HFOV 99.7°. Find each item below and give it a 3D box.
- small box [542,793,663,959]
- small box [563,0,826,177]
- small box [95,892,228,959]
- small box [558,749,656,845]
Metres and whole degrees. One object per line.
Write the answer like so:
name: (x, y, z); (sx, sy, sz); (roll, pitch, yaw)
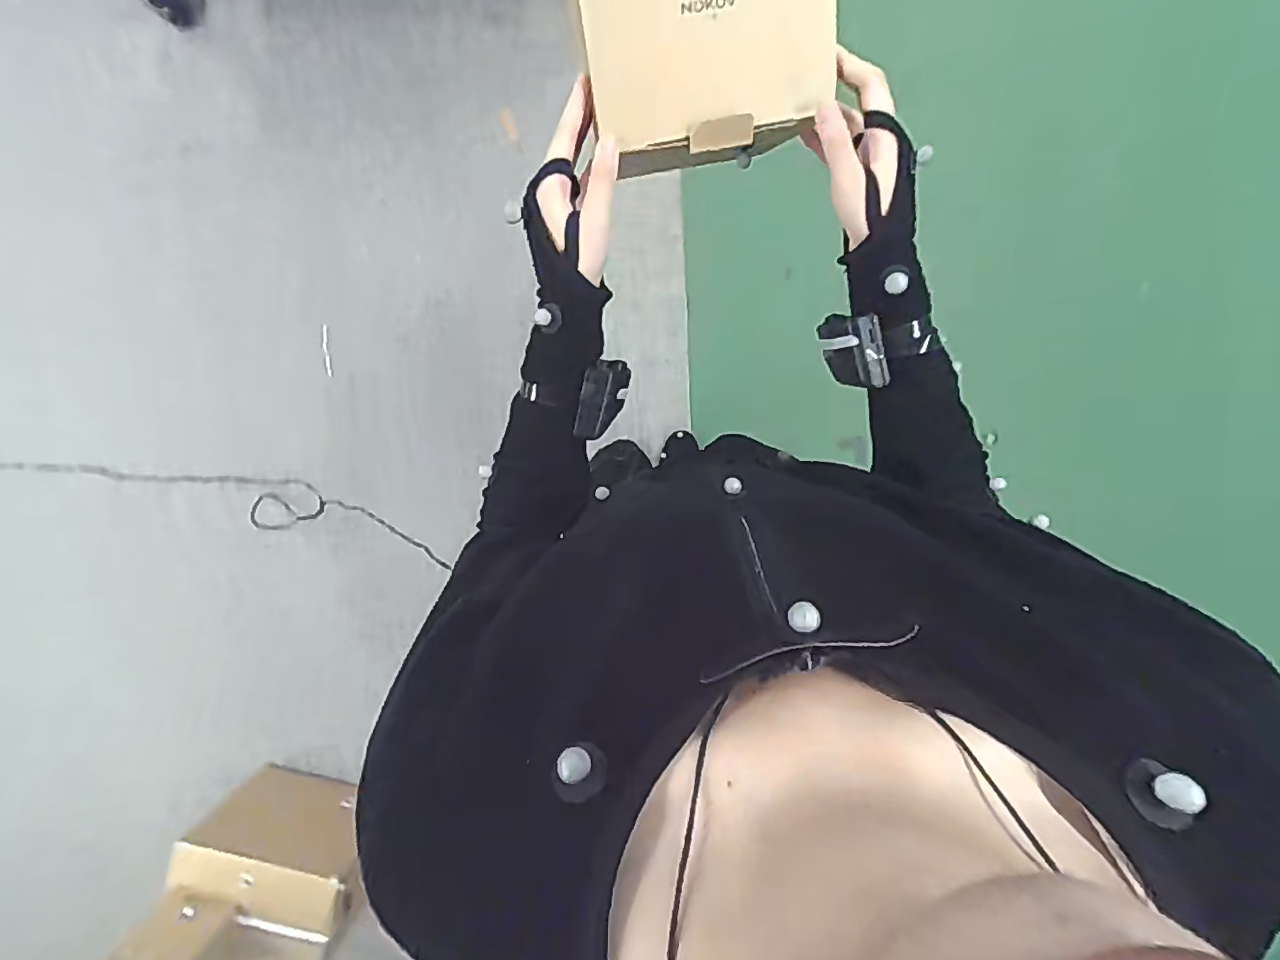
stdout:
small box: (-0.064, 0.722, 1.001); (0.179, 0.176, 0.168); (-16, 93, 0)
small box: (0.030, -0.343, 0.412); (0.168, 0.176, 0.179); (-11, 113, -1)
small box: (-1.059, 1.072, 1.194); (0.168, 0.176, 0.179); (16, 95, -1)
small box: (-0.064, 0.713, 1.165); (0.179, 0.176, 0.168); (-12, 94, 1)
